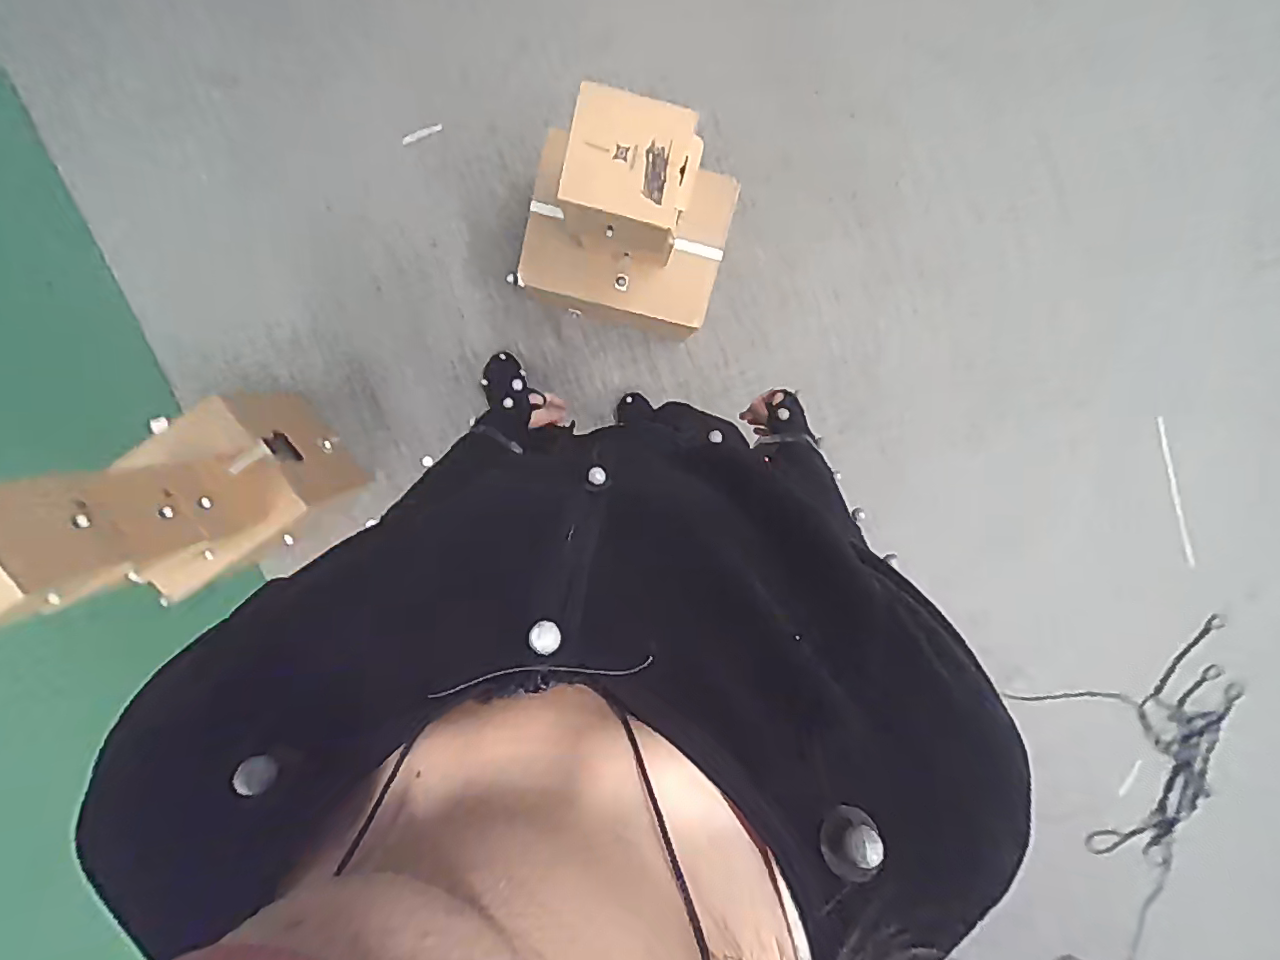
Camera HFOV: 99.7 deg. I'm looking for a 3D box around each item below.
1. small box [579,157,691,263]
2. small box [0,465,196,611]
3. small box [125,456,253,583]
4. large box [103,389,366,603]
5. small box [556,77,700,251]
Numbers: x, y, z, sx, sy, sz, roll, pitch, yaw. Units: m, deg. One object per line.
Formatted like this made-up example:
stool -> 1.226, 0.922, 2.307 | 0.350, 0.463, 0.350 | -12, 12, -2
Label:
small box -> -0.015, -0.520, 1.014 | 0.179, 0.176, 0.168 | 10, 98, -5
small box -> -0.929, 0.090, 0.920 | 0.179, 0.176, 0.168 | -27, 100, 2
small box -> -0.935, 0.070, 1.081 | 0.168, 0.176, 0.179 | -28, 100, 2
large box -> -0.983, 0.017, 1.319 | 0.408, 0.320, 0.320 | -34, 98, 5
small box -> -0.020, -0.480, 0.853 | 0.179, 0.176, 0.168 | 14, 98, -3
